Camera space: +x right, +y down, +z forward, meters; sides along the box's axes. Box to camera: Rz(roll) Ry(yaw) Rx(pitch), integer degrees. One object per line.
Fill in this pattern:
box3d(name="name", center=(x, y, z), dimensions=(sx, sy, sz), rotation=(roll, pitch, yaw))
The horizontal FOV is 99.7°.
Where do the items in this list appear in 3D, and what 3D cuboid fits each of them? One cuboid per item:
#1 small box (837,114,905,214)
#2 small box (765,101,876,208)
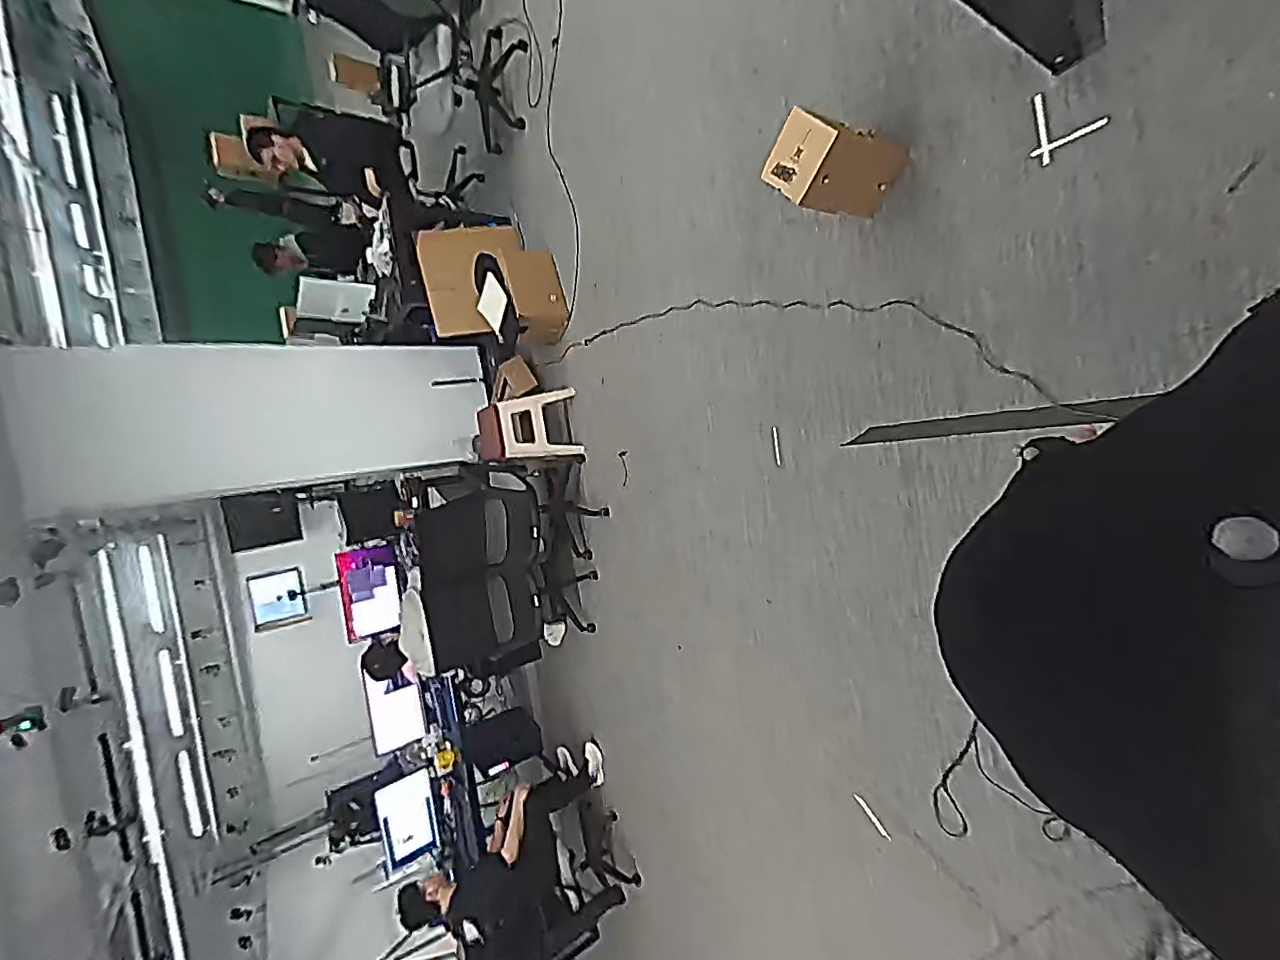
box3d(name="small box", center=(0.595, -0.866, 1.492), dimensions=(0.168, 0.176, 0.179), rotation=(56, 137, 30))
box3d(name="small box", center=(0.466, -0.830, 1.393), dimensions=(0.168, 0.176, 0.179), rotation=(57, 139, 29))
